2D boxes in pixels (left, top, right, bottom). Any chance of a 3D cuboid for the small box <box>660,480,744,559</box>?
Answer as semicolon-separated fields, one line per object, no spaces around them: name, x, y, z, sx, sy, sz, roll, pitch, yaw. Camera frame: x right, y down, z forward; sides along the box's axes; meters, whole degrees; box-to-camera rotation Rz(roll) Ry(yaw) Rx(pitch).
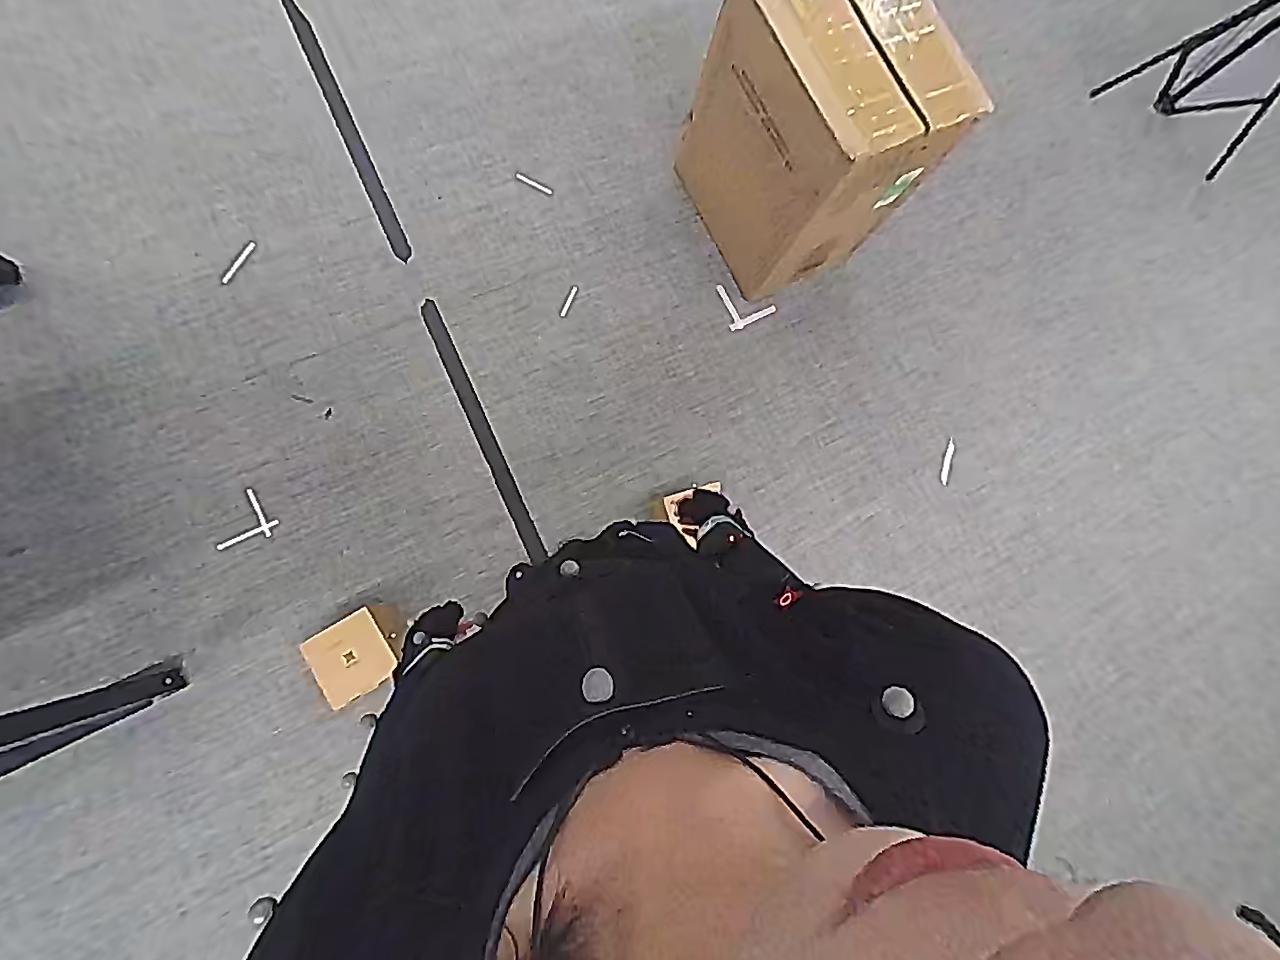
small box;0.166;0.112;1.503;0.168;0.176;0.179;-16;84;-11

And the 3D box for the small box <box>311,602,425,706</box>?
small box;-0.658;0.417;1.332;0.168;0.176;0.179;-31;86;-13
